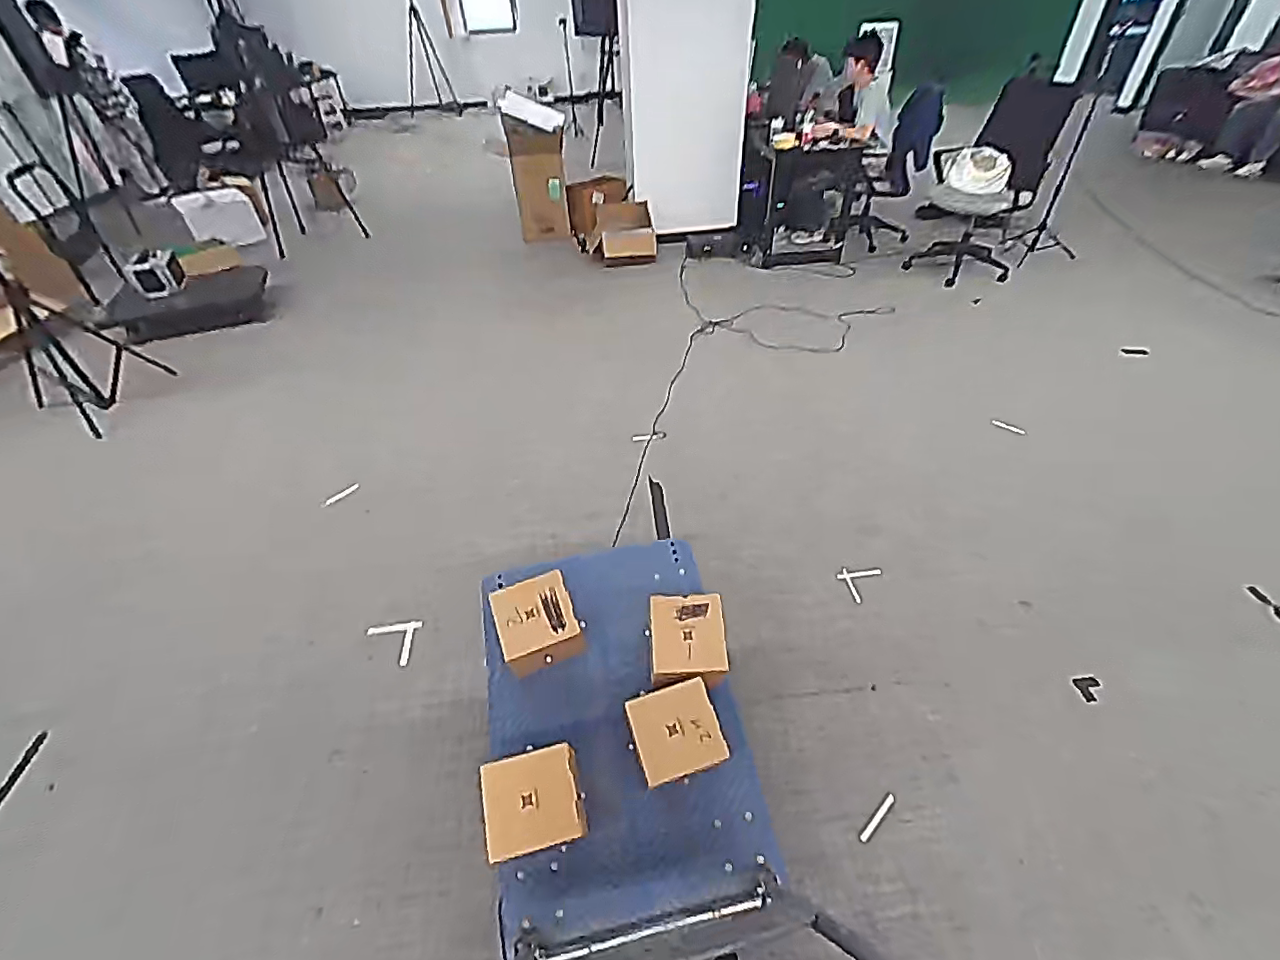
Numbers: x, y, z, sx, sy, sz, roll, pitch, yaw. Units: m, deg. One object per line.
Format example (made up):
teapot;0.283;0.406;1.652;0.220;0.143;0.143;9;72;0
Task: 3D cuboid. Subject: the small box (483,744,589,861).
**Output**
small box;-0.209;0.661;1.108;0.179;0.176;0.168;-12;59;-10

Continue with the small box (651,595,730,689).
small box;0.112;0.385;1.280;0.168;0.176;0.179;-2;59;-1

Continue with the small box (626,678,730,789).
small box;0.078;0.555;1.174;0.179;0.176;0.168;-15;60;-9
